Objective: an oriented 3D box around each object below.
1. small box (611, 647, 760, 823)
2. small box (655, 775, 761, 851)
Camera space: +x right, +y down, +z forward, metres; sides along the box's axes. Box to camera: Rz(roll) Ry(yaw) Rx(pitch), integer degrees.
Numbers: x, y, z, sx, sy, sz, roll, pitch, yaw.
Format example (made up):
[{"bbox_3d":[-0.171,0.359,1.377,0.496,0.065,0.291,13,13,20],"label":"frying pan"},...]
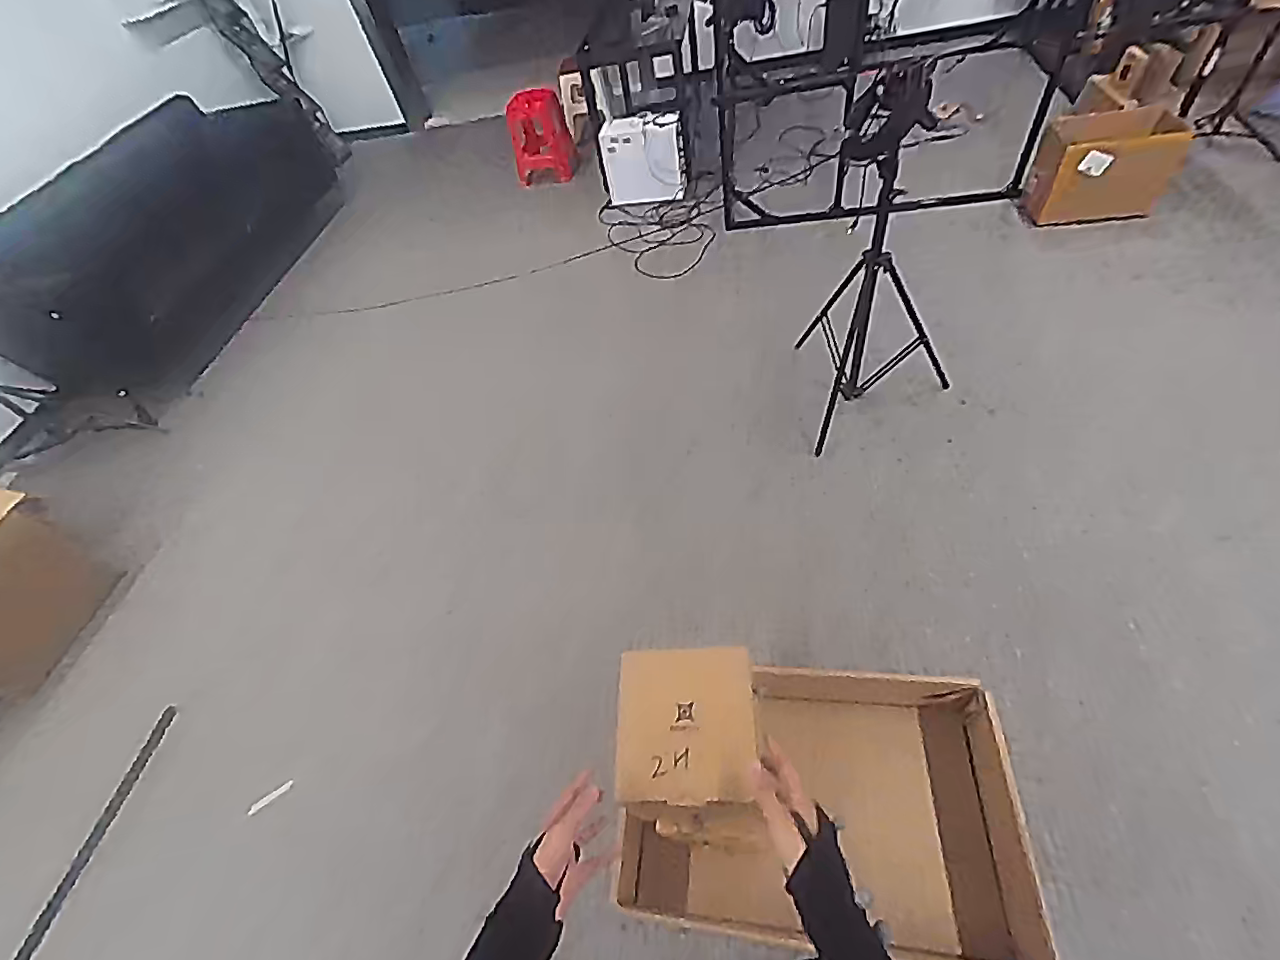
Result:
[{"bbox_3d":[0.066,0.334,0.706,0.168,0.176,0.179,-6,52,11],"label":"small box"},{"bbox_3d":[0.127,0.537,0.956,0.168,0.176,0.179,-3,52,13],"label":"small box"}]
